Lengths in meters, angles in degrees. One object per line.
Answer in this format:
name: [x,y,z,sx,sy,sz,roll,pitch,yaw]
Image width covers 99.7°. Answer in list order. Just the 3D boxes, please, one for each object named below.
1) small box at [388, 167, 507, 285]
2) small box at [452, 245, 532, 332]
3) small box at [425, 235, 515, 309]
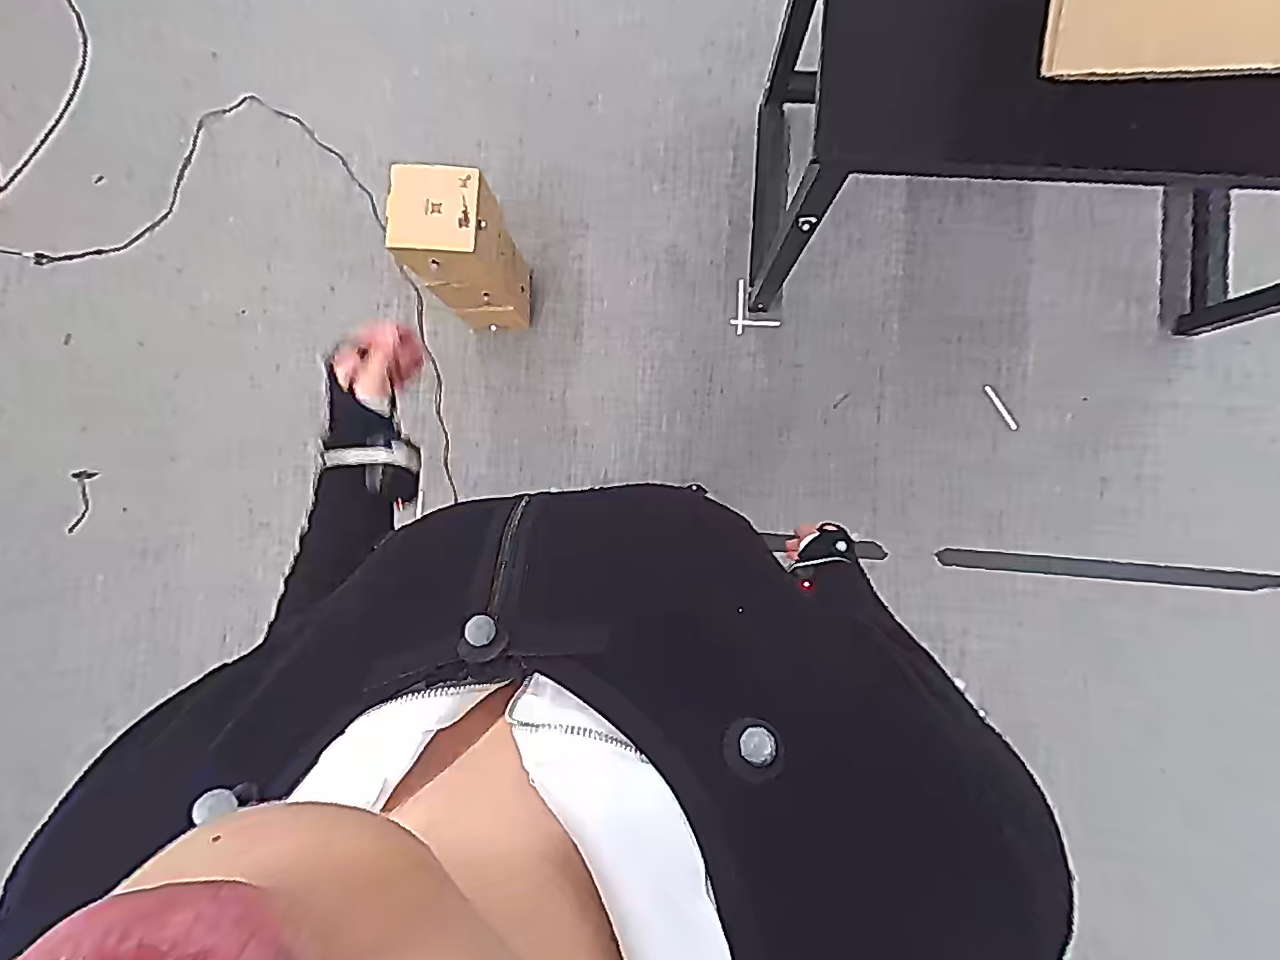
small box: [-0.392,-0.518,1.123,0.179,0.176,0.168,4,89,3]
small box: [-0.390,-0.508,1.449,0.168,0.176,0.179,0,90,3]
small box: [-0.400,-0.517,1.288,0.168,0.176,0.179,-3,87,1]
